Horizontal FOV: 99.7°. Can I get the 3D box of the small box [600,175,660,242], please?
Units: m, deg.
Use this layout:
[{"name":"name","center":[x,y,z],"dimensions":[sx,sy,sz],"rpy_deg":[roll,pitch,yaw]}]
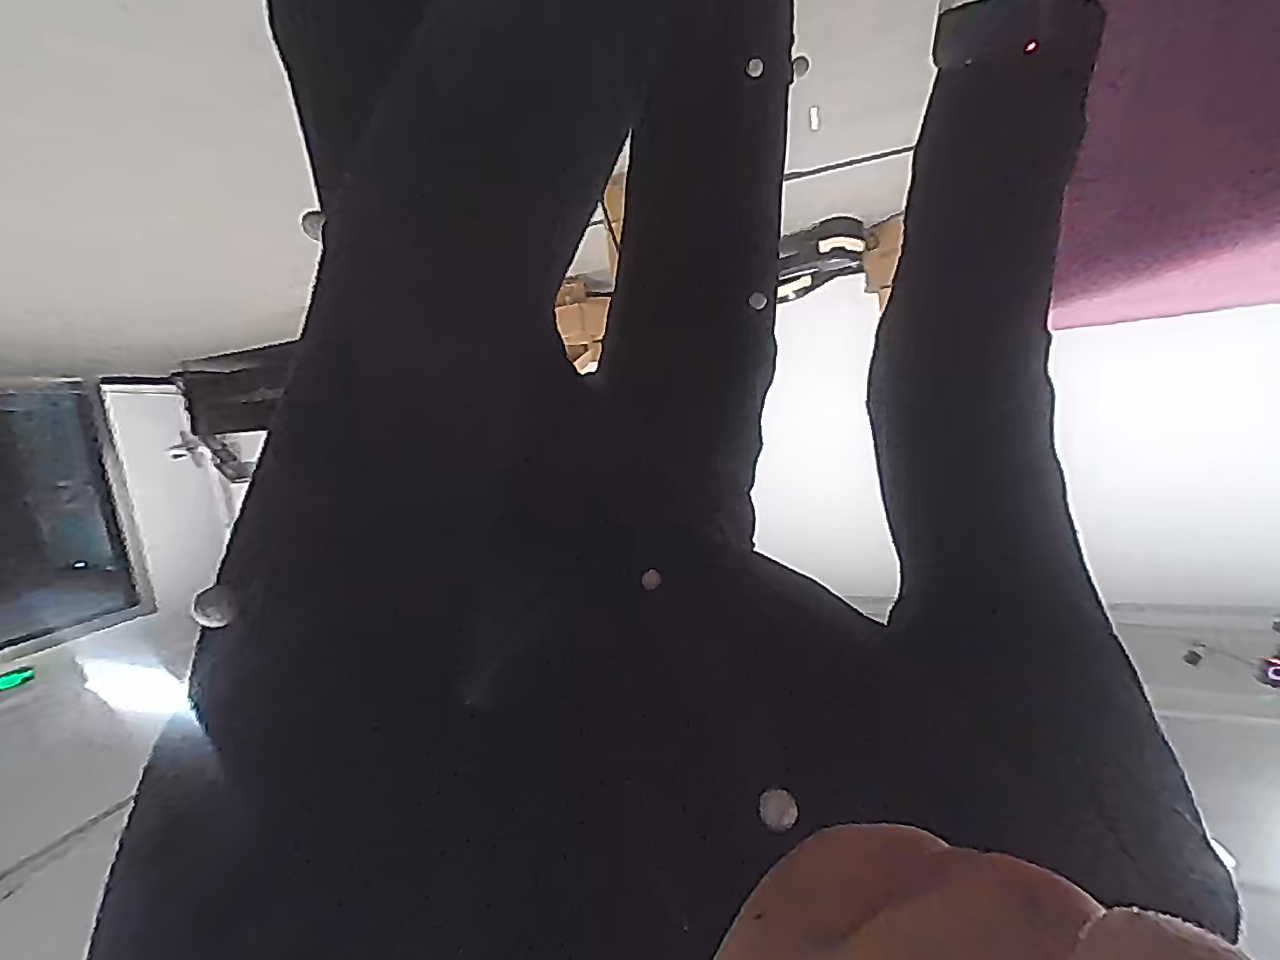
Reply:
[{"name":"small box","center":[-0.034,-1.001,2.000],"dimensions":[0.168,0.176,0.179],"rpy_deg":[-2,-171,23]}]
